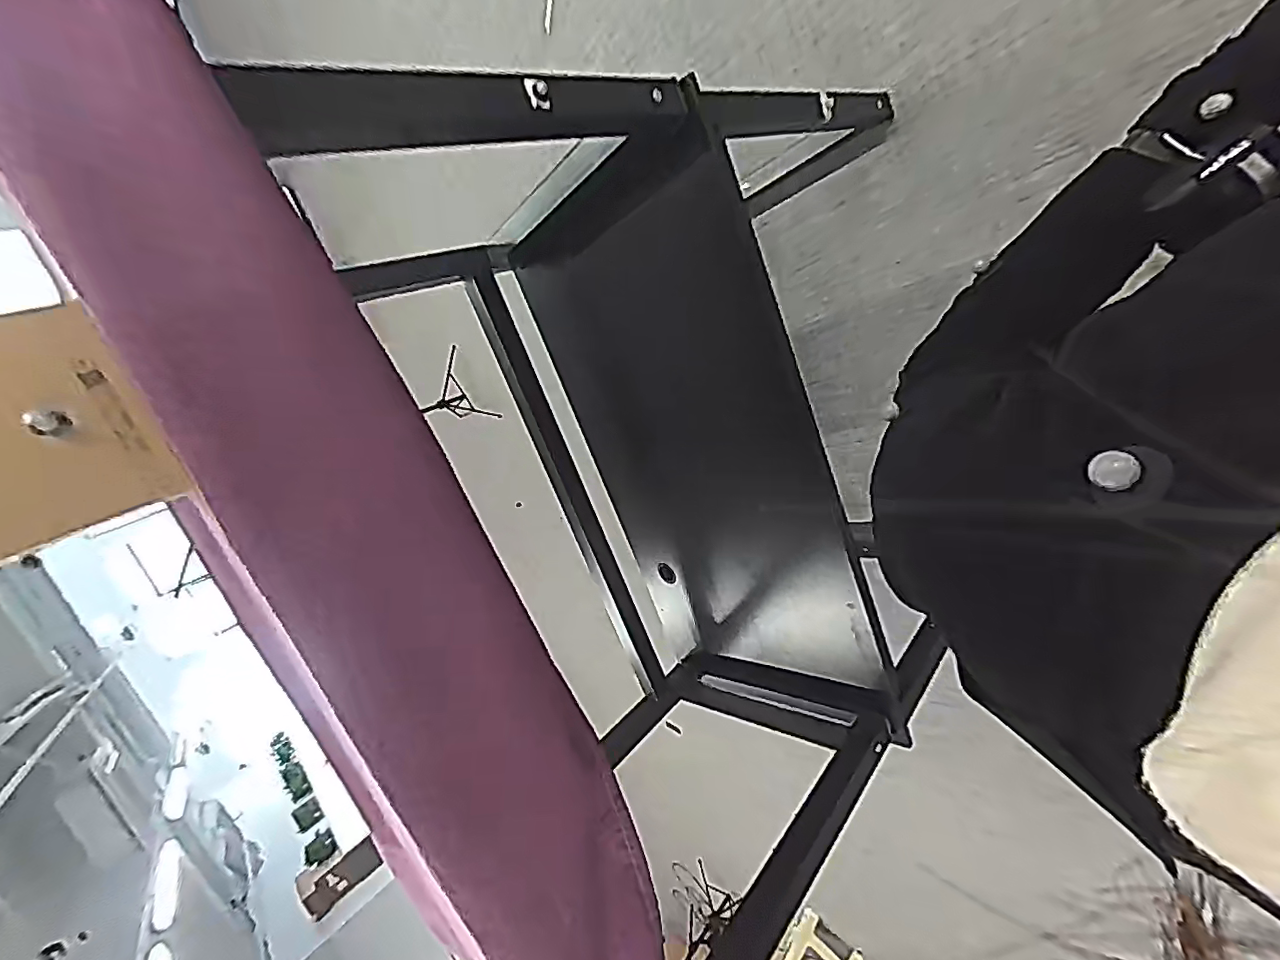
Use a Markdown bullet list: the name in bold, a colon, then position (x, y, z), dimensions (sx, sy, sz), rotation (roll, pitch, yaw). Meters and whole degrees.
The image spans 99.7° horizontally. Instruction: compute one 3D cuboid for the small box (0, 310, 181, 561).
- **small box**: position (-0.525, -0.026, 0.453), dimensions (0.179, 0.176, 0.168), rotation (-3, 114, 50)
